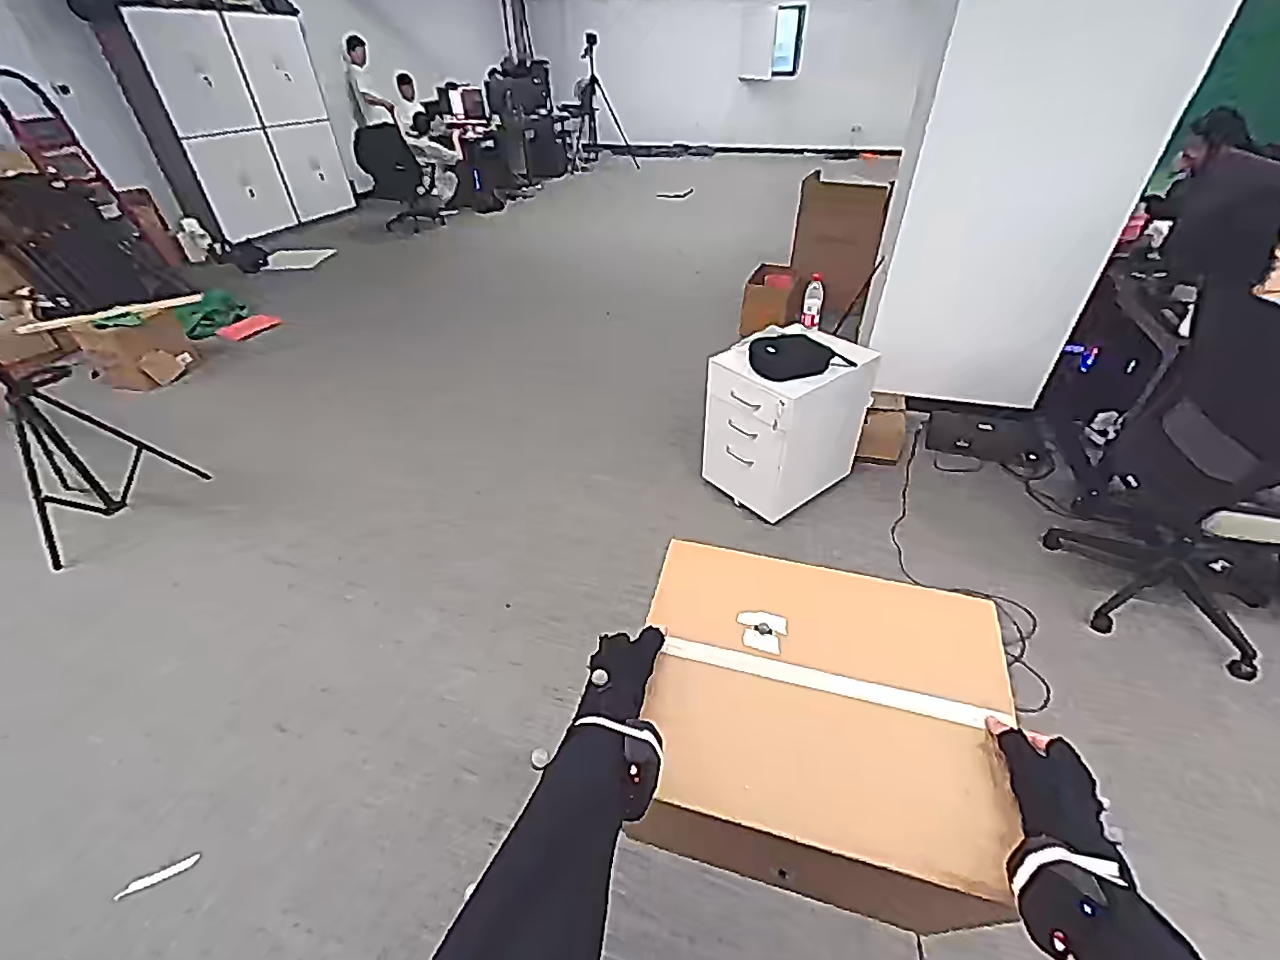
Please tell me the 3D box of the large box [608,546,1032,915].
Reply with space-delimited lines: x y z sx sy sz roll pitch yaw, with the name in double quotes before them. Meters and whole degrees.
"large box" 0.206 0.329 0.724 0.408 0.320 0.320 9 48 13
